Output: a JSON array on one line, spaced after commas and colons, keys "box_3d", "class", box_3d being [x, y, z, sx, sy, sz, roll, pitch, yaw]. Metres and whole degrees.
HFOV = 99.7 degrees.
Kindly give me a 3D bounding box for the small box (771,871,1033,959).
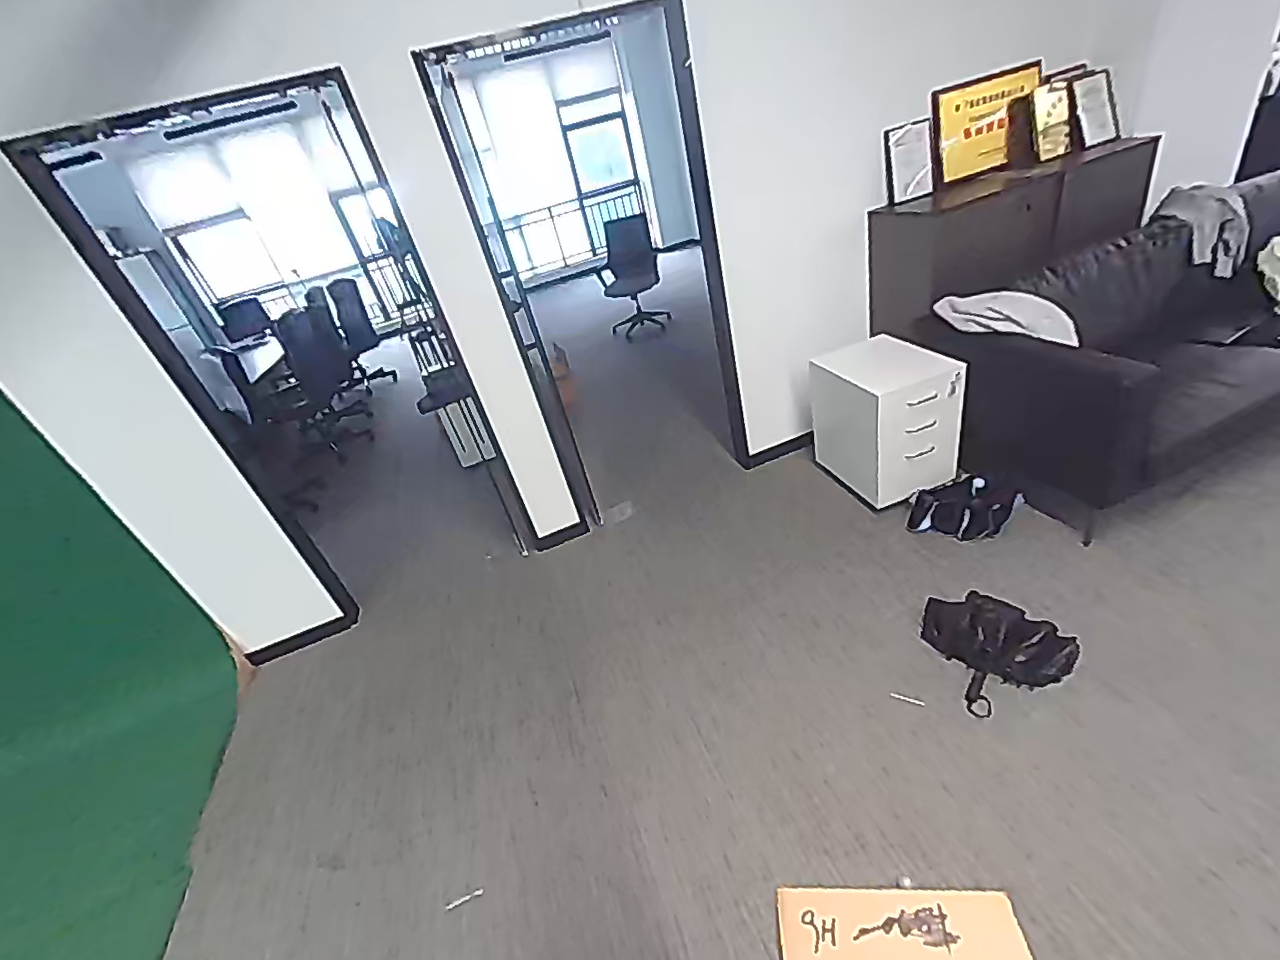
[{"box_3d": [0.187, 0.409, 0.384, 0.168, 0.176, 0.179, -4, 38, 8], "class": "small box"}]
